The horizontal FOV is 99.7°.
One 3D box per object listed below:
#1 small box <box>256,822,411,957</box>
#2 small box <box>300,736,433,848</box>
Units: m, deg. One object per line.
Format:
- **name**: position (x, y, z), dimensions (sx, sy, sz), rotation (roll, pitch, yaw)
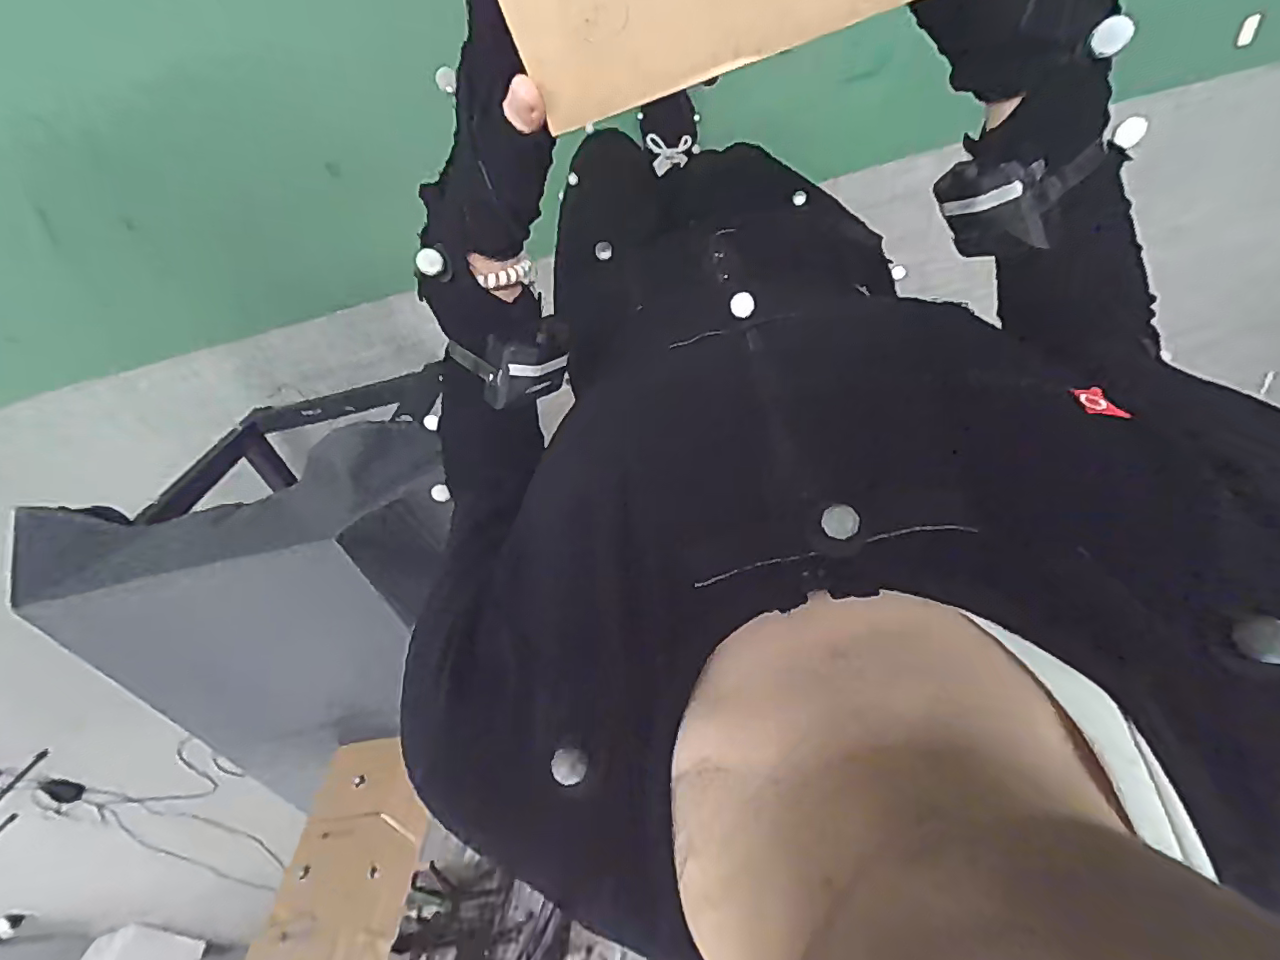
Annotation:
- **small box**: position (-0.579, 0.788, 1.050), dimensions (0.168, 0.176, 0.179), rotation (-13, 126, 8)
- **small box**: position (-0.583, 0.689, 1.180), dimensions (0.179, 0.176, 0.168), rotation (-12, 126, 5)
